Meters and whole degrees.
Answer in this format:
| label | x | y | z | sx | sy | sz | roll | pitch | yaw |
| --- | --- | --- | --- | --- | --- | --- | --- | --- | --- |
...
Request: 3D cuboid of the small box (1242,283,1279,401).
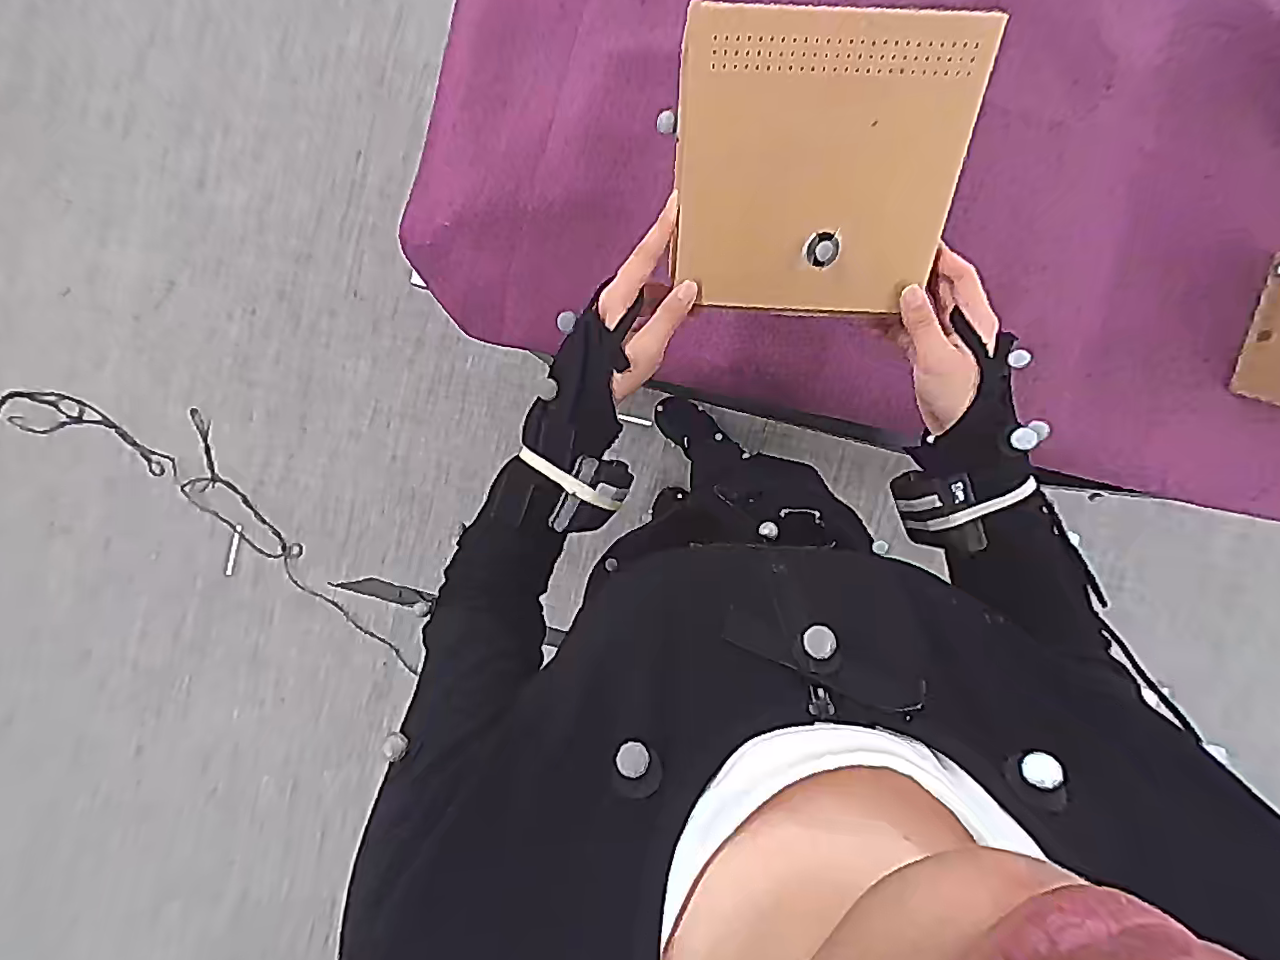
| label | x | y | z | sx | sy | sz | roll | pitch | yaw |
| --- | --- | --- | --- | --- | --- | --- | --- | --- | --- |
| small box | 0.772 | -0.153 | 0.525 | 0.179 | 0.176 | 0.168 | 17 | 93 | 0 |
